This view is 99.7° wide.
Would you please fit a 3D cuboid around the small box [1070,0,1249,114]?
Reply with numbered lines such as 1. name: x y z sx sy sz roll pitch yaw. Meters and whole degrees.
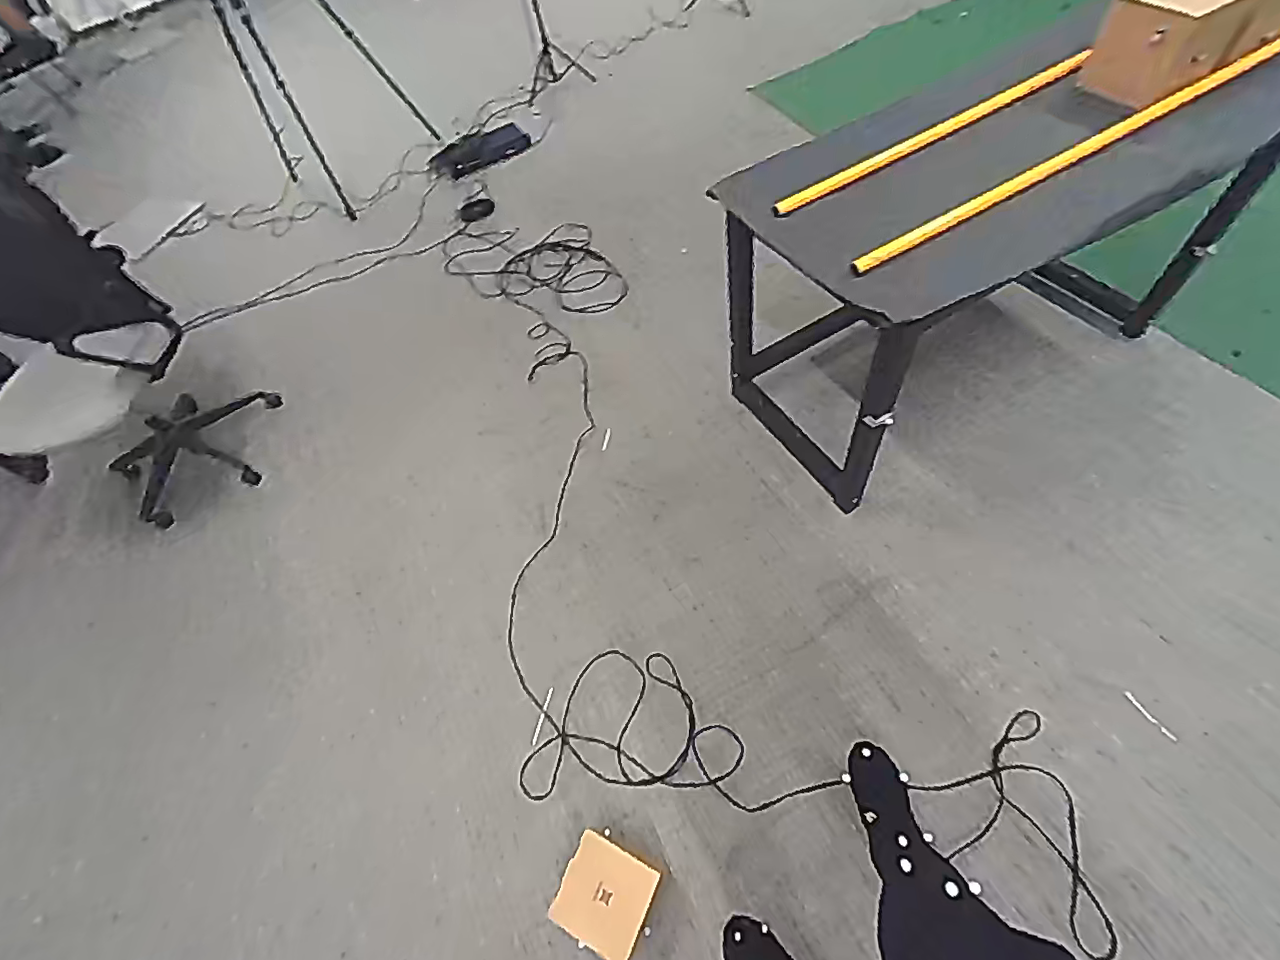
1. small box: 1.083 -0.913 1.147 0.168 0.176 0.179 -27 57 -6

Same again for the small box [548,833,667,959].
1. small box: -0.057 0.859 1.121 0.179 0.176 0.168 18 63 21
